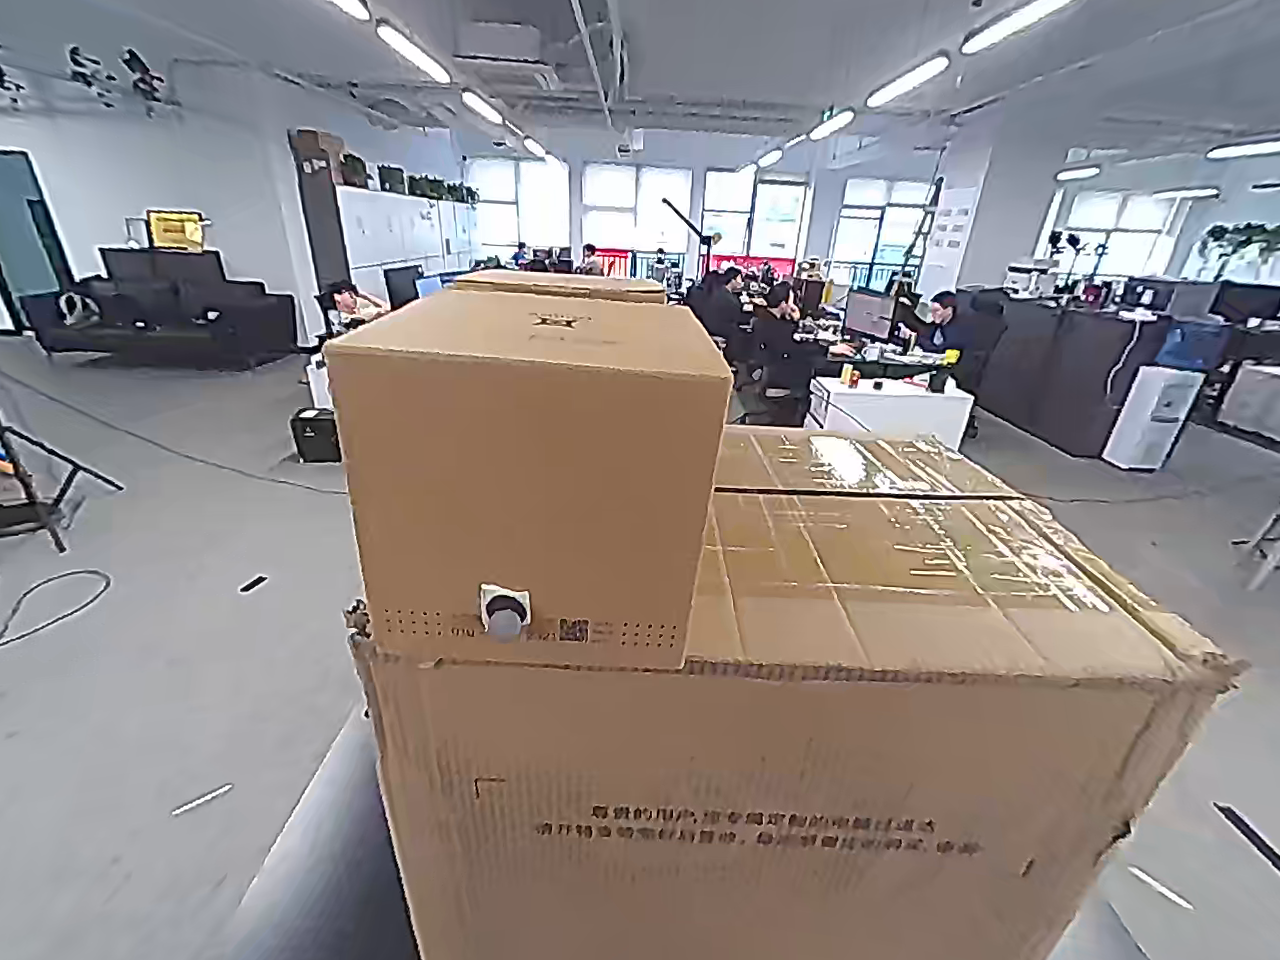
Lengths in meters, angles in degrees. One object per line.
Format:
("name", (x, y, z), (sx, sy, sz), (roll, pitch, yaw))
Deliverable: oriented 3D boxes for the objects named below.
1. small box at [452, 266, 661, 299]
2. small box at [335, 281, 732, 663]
("small box", (-0.071, -0.109, 0.522), (0.168, 0.176, 0.179), (2, 23, -3))
("small box", (-0.052, -0.016, 0.329), (0.168, 0.176, 0.179), (2, 27, -4))
